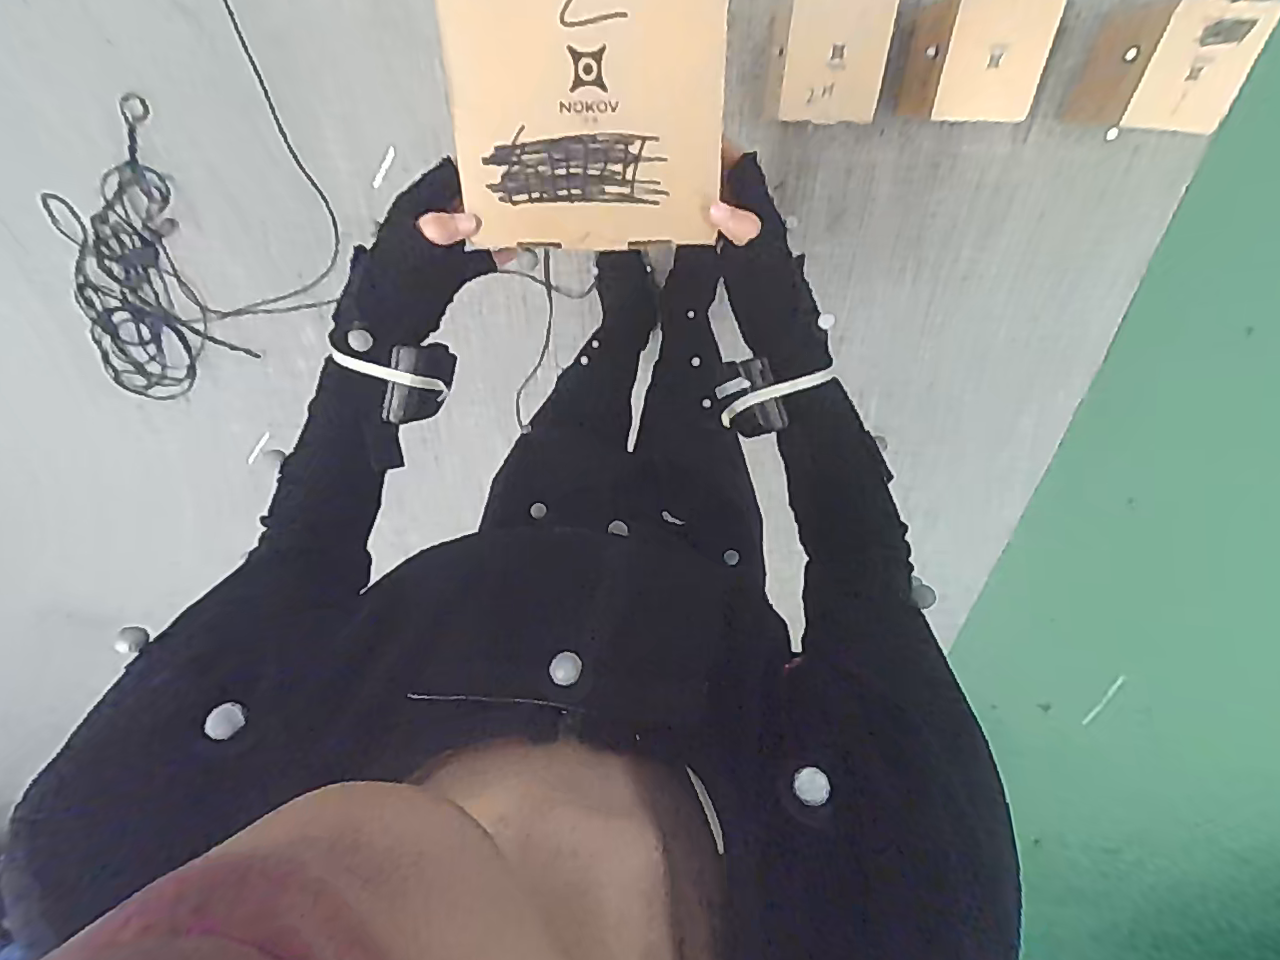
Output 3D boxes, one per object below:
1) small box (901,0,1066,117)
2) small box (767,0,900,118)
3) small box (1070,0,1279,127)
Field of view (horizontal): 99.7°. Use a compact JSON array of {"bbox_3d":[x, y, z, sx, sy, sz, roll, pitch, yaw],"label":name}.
[{"bbox_3d":[0.579,-0.738,0.938,0.168,0.176,0.179,1,123,1],"label":"small box"},{"bbox_3d":[0.323,-0.740,0.941,0.168,0.176,0.179,2,124,2],"label":"small box"},{"bbox_3d":[0.904,-0.723,0.934,0.168,0.176,0.179,5,125,-1],"label":"small box"}]
